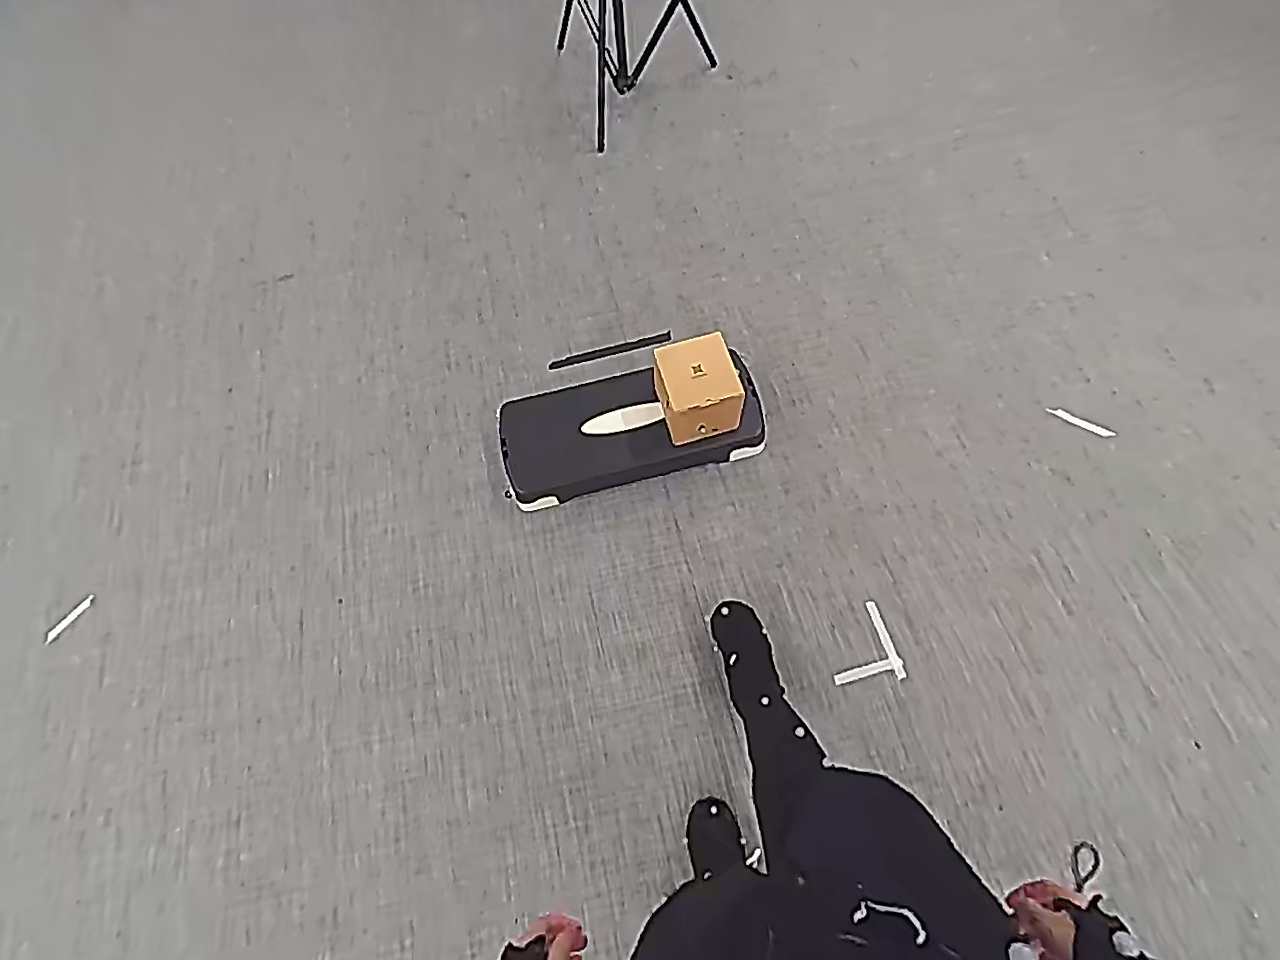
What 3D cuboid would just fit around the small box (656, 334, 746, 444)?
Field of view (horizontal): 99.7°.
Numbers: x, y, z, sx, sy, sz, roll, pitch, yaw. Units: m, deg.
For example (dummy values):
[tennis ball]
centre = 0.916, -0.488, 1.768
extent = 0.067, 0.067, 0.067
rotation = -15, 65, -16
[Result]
[small box]
centre = 0.137, -0.211, 1.287
extent = 0.168, 0.176, 0.179
rotation = -16, 69, -3
